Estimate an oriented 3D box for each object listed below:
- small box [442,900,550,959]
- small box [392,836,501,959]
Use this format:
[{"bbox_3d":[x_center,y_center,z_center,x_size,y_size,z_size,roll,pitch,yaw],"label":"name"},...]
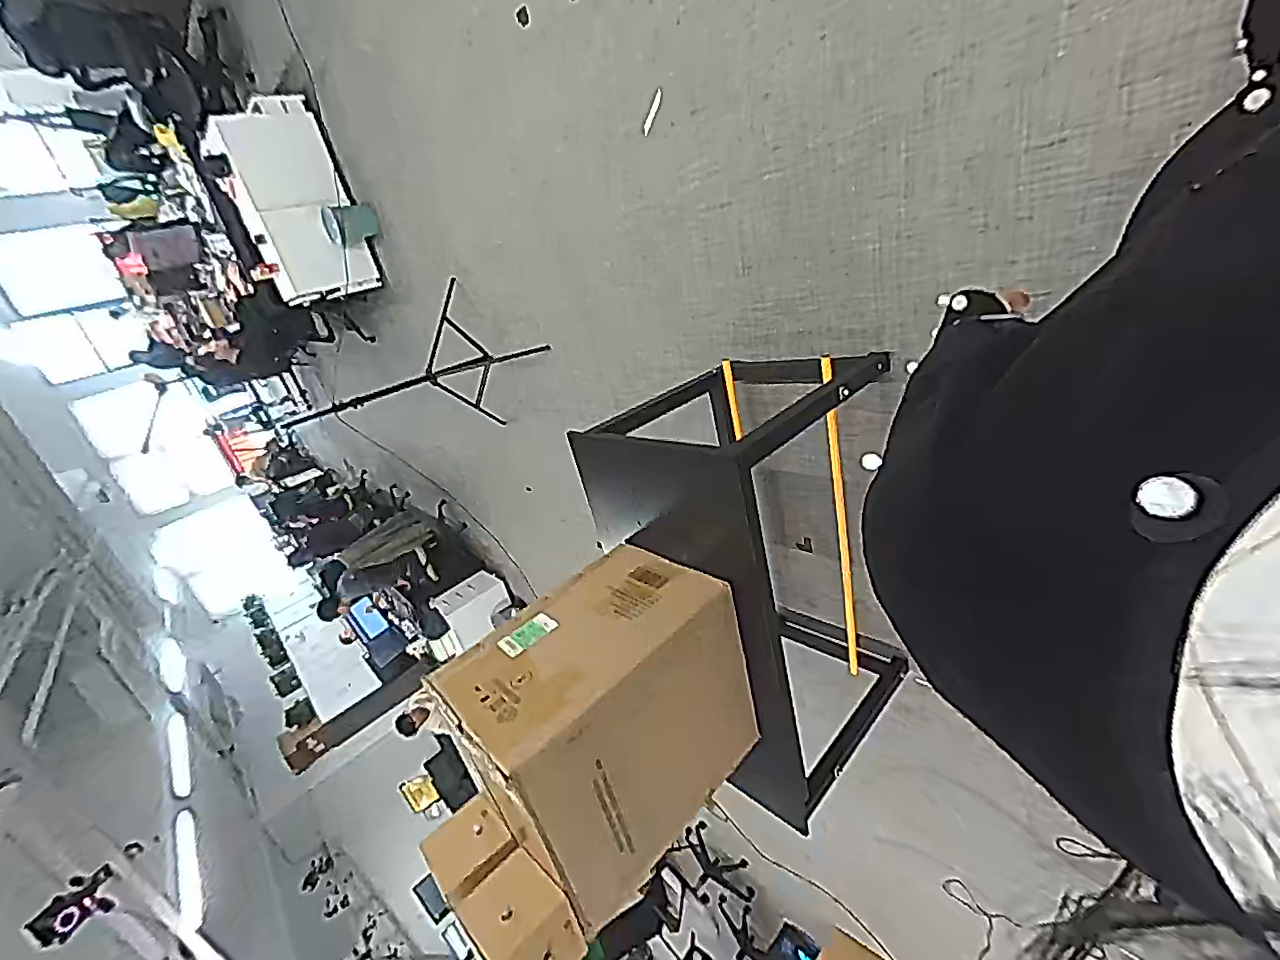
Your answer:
[{"bbox_3d":[-0.266,0.960,1.024,0.179,0.176,0.168,4,116,46],"label":"small box"},{"bbox_3d":[-0.403,0.938,1.178,0.168,0.176,0.179,15,126,48],"label":"small box"}]
